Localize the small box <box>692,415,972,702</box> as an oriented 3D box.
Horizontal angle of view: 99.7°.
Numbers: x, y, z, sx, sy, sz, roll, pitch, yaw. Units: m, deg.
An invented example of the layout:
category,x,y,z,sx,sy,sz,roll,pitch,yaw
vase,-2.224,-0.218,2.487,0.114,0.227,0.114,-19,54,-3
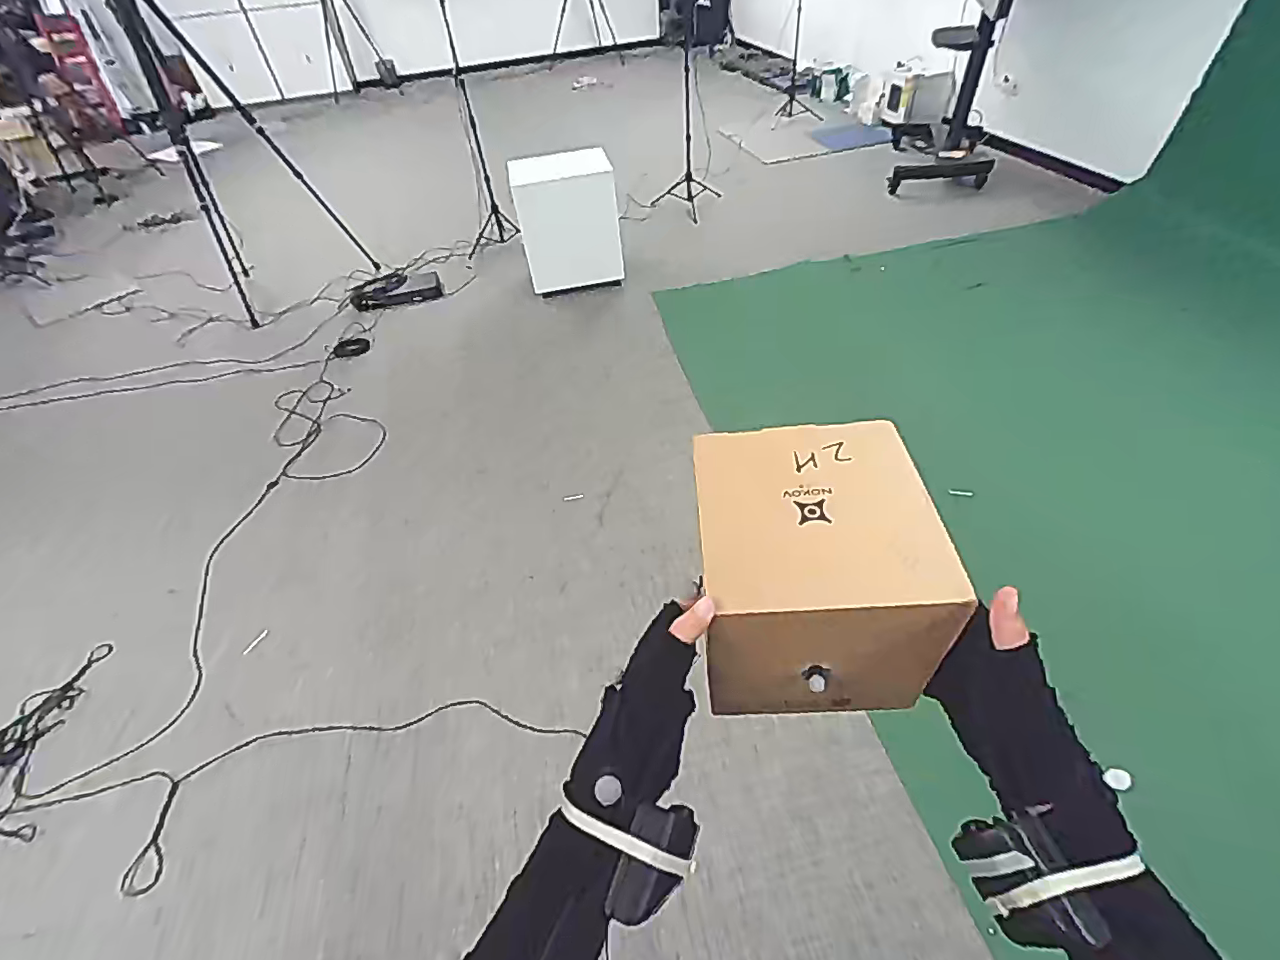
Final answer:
category,x,y,z,sx,sy,sz,roll,pitch,yaw
small box,0.133,0.071,0.447,0.168,0.176,0.179,-4,45,5
